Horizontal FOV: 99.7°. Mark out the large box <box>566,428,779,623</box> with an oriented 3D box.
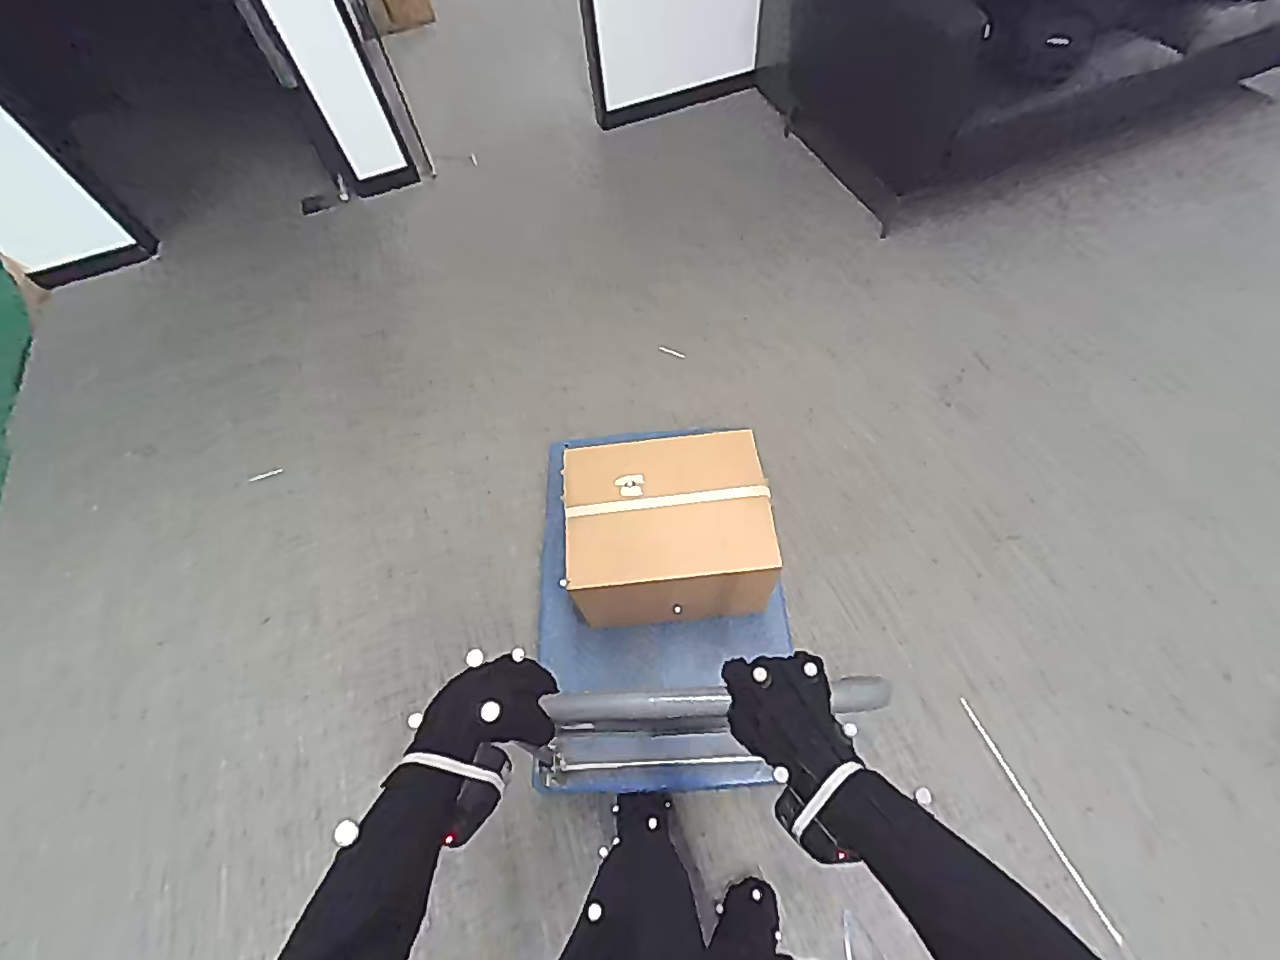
[{"bbox_3d":[0.066,0.116,1.218,0.408,0.320,0.320,-7,60,2],"label":"large box"}]
